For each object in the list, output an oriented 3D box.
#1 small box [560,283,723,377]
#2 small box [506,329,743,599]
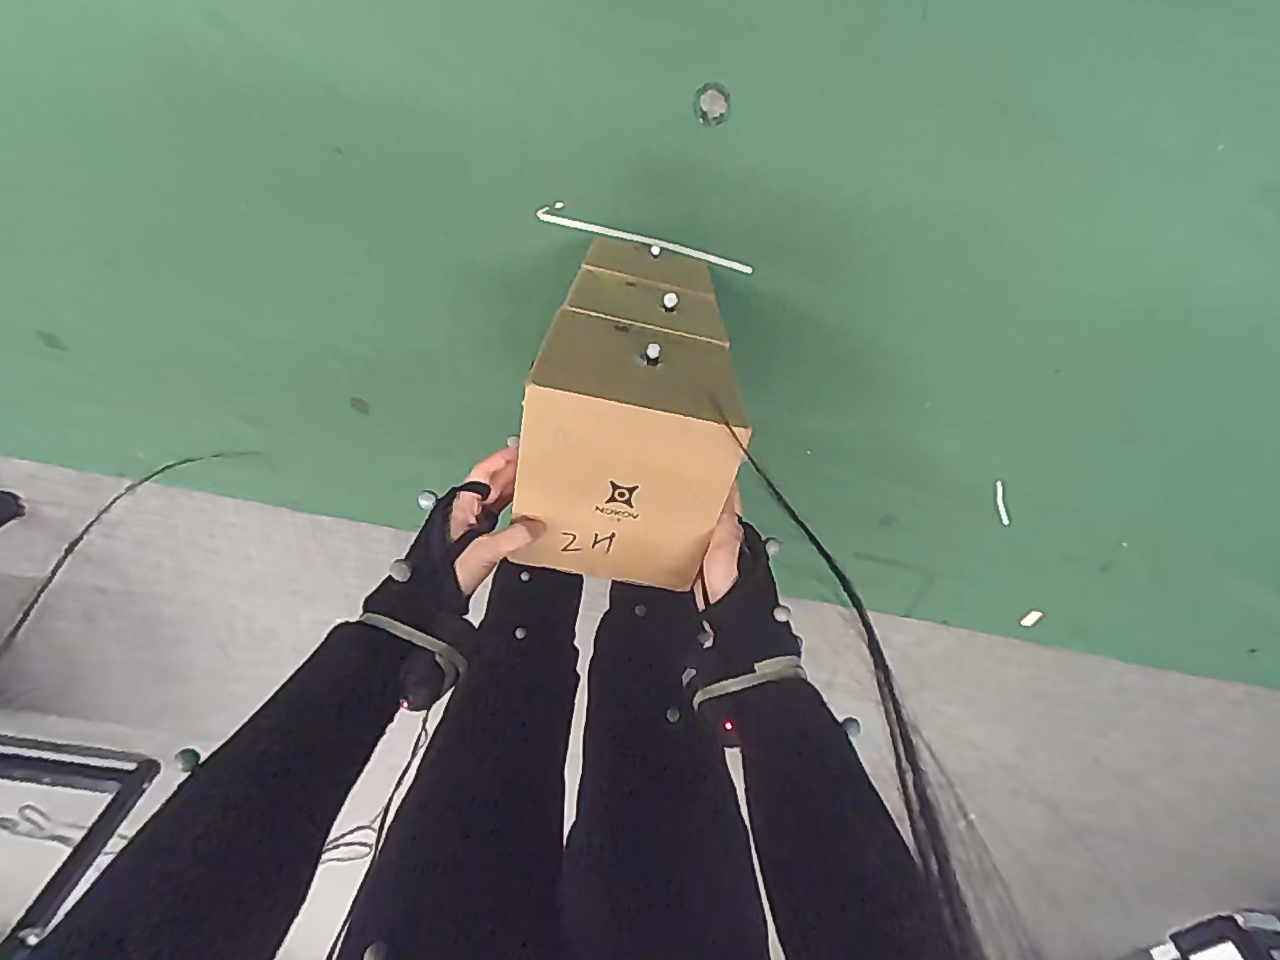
[{"bbox_3d":[-0.013,-0.114,0.635,0.168,0.176,0.179,10,124,-5],"label":"small box"},{"bbox_3d":[-0.020,-0.020,0.499,0.168,0.176,0.179,10,125,-6],"label":"small box"}]
